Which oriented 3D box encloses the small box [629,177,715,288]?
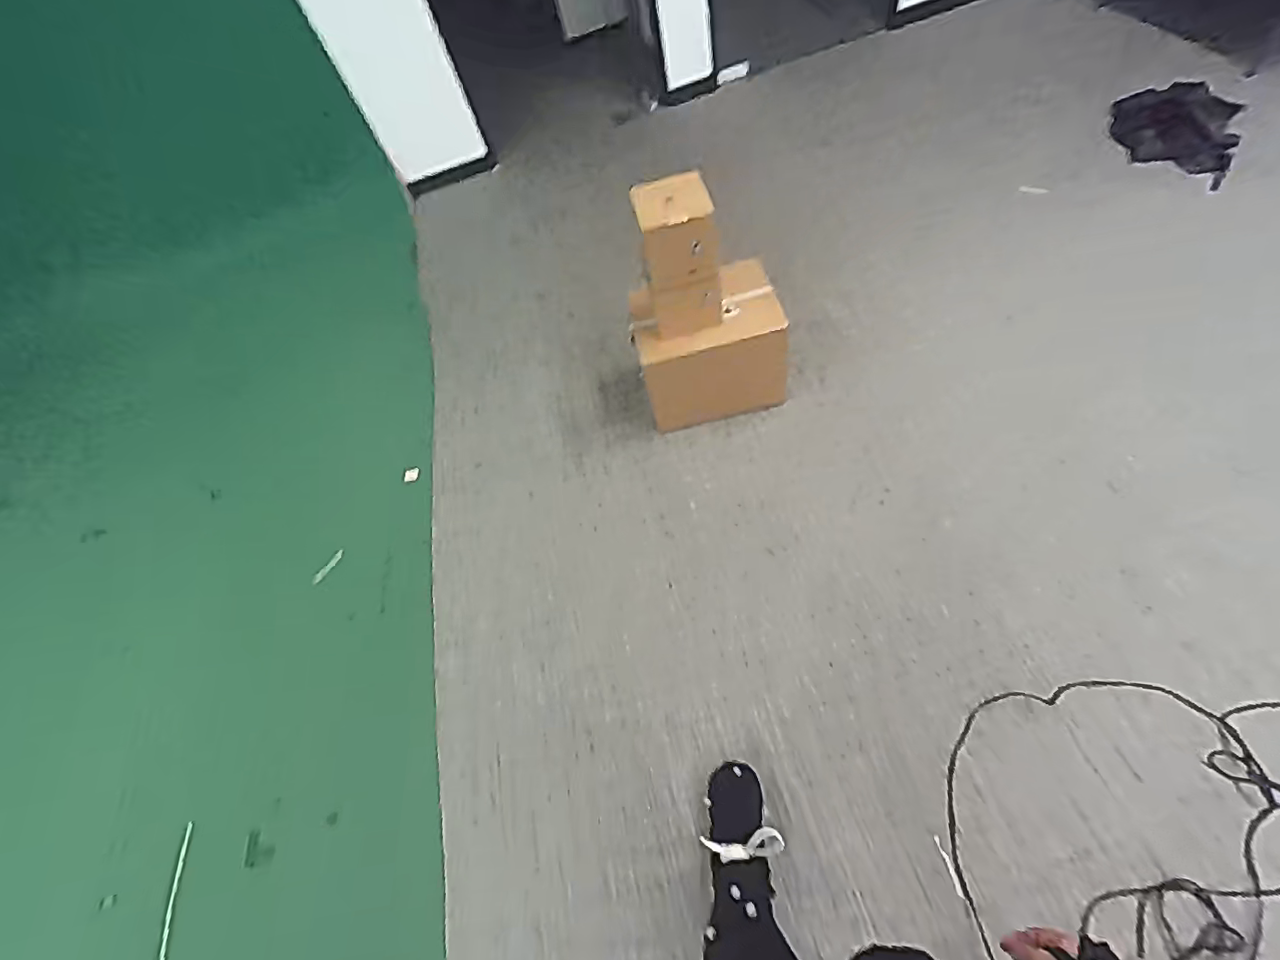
[{"bbox_3d":[0.078,-0.581,1.292,0.168,0.176,0.179,-13,55,2],"label":"small box"}]

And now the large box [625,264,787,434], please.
[{"bbox_3d":[0.195,-0.384,1.632,0.408,0.320,0.320,-13,57,3],"label":"large box"}]
